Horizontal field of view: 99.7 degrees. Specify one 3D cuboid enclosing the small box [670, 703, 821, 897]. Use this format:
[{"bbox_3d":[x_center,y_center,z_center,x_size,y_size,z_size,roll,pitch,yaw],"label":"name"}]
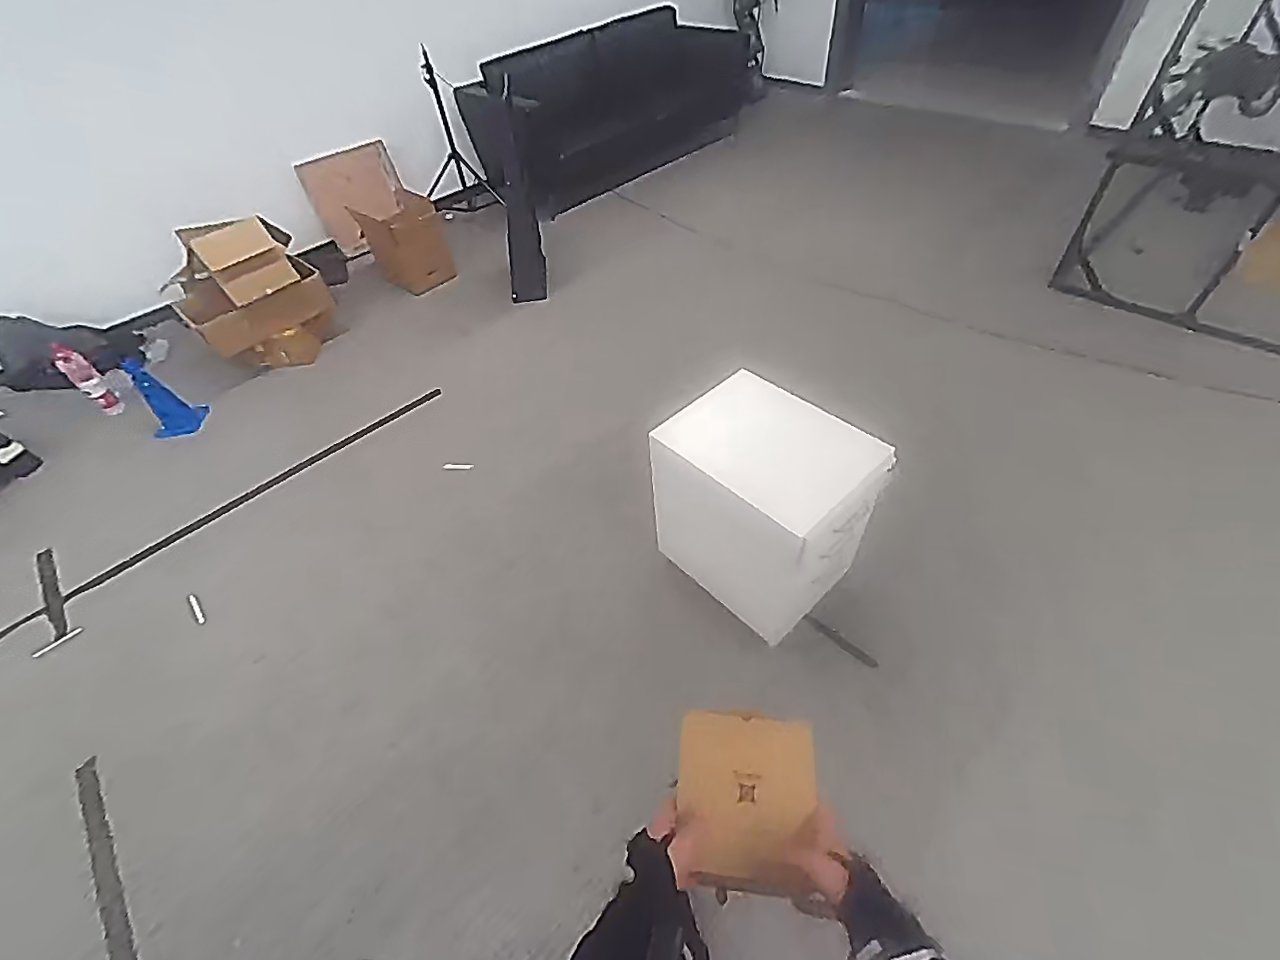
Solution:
[{"bbox_3d":[0.129,0.415,0.701,0.168,0.176,0.179,4,49,7],"label":"small box"}]
